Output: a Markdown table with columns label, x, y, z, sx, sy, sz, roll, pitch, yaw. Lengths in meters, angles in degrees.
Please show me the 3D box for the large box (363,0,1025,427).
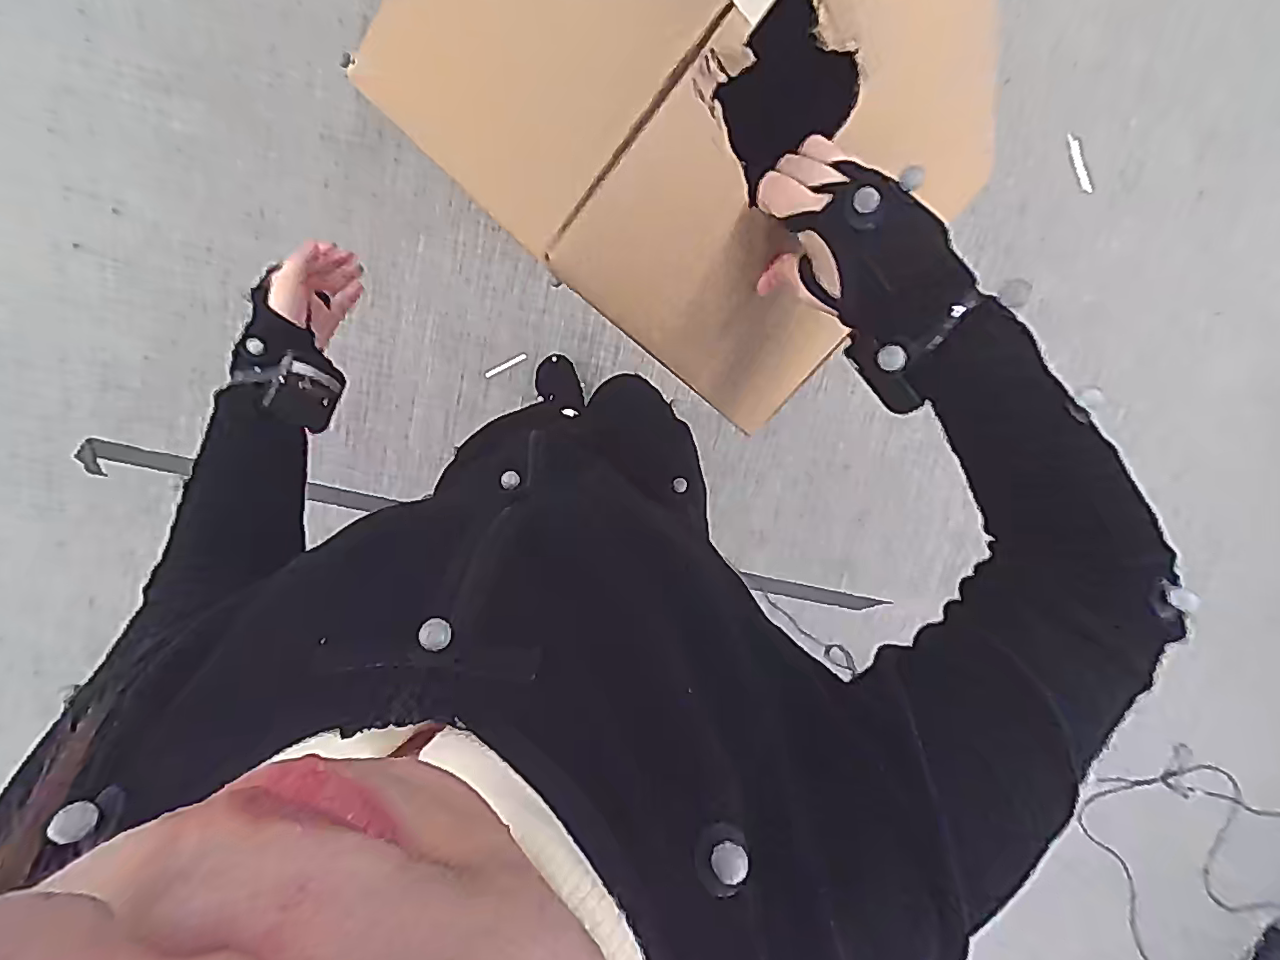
| label | x | y | z | sx | sy | sz | roll | pitch | yaw |
| --- | --- | --- | --- | --- | --- | --- | --- | --- | --- |
| large box | 0.033 | -0.310 | 0.467 | 0.320 | 0.408 | 0.320 | -49 | 145 | 12 |
